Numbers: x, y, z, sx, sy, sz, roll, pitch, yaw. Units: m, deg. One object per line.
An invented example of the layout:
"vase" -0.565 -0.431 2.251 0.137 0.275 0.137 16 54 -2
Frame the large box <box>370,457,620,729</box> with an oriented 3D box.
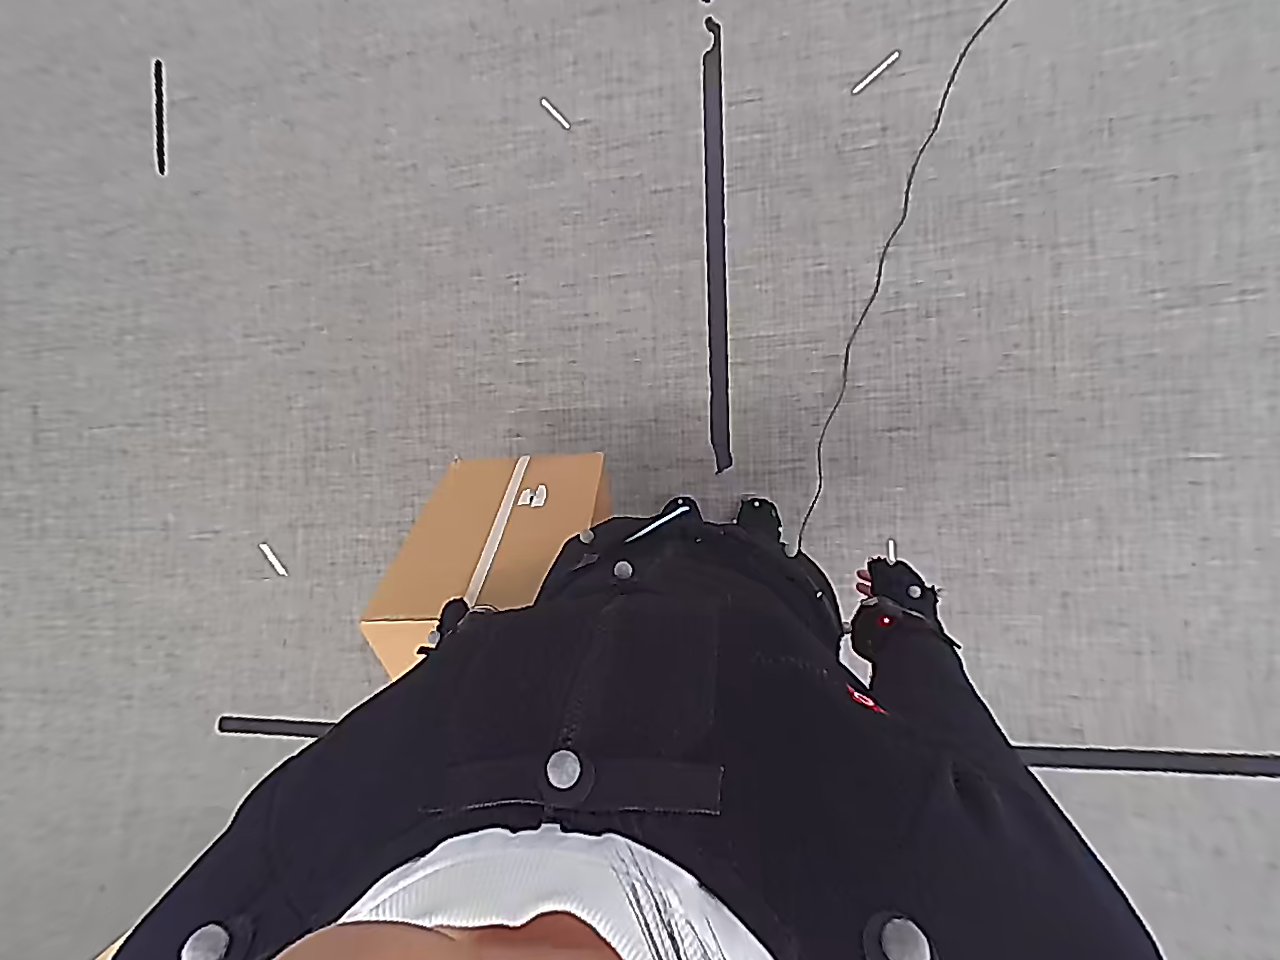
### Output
"large box" -0.222 0.199 1.015 0.320 0.408 0.320 -2 126 6
